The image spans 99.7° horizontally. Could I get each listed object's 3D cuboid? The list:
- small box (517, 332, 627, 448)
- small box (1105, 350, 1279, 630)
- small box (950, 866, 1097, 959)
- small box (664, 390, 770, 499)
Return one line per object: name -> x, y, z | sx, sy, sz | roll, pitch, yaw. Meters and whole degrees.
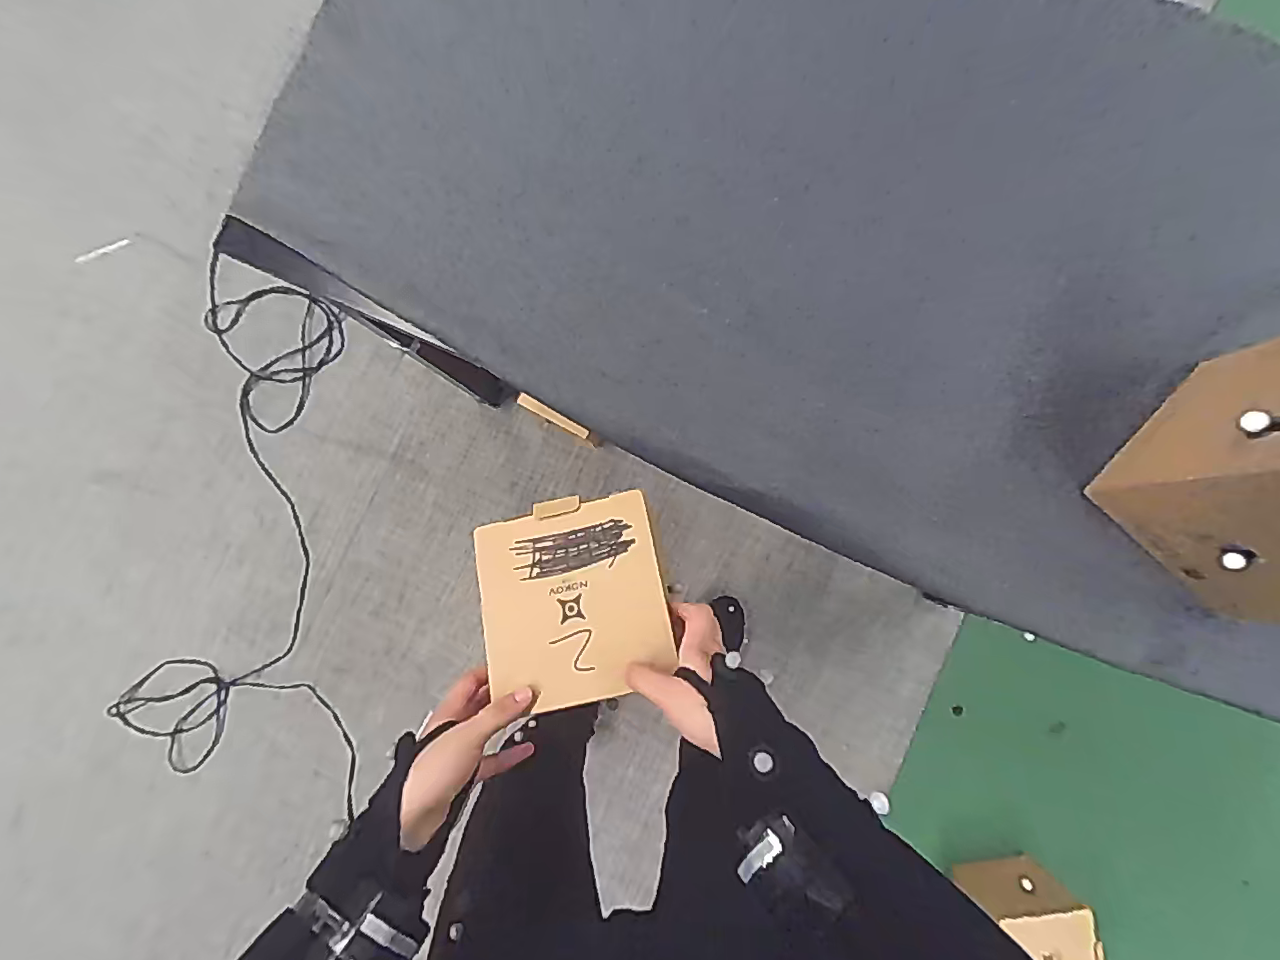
small box -> -0.137, -0.185, 1.182 | 0.168, 0.176, 0.179 | 28, 87, 4
small box -> 0.519, 0.006, 0.411 | 0.179, 0.176, 0.168 | -45, 86, -4
small box -> 0.757, 0.904, 1.072 | 0.179, 0.176, 0.168 | -8, 85, 0
small box -> 0.158, -0.067, 1.162 | 0.168, 0.176, 0.179 | 22, 86, 3
